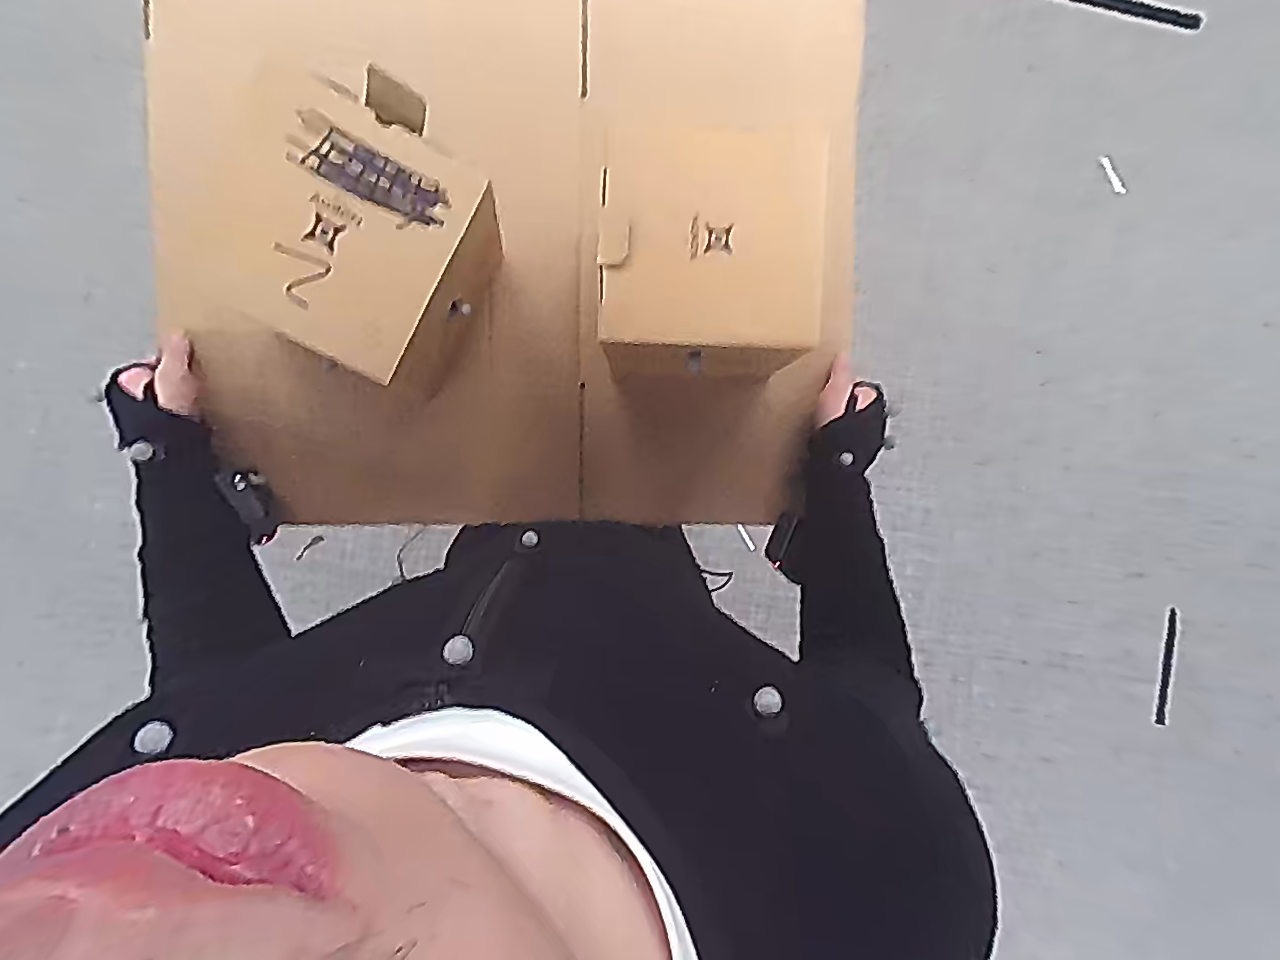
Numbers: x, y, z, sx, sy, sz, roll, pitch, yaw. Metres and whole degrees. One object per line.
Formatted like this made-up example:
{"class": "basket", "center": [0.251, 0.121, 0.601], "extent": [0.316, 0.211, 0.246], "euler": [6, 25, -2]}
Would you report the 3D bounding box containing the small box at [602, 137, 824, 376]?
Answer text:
{"class": "small box", "center": [0.059, -0.195, 0.519], "extent": [0.179, 0.176, 0.168], "euler": [2, 93, 1]}
